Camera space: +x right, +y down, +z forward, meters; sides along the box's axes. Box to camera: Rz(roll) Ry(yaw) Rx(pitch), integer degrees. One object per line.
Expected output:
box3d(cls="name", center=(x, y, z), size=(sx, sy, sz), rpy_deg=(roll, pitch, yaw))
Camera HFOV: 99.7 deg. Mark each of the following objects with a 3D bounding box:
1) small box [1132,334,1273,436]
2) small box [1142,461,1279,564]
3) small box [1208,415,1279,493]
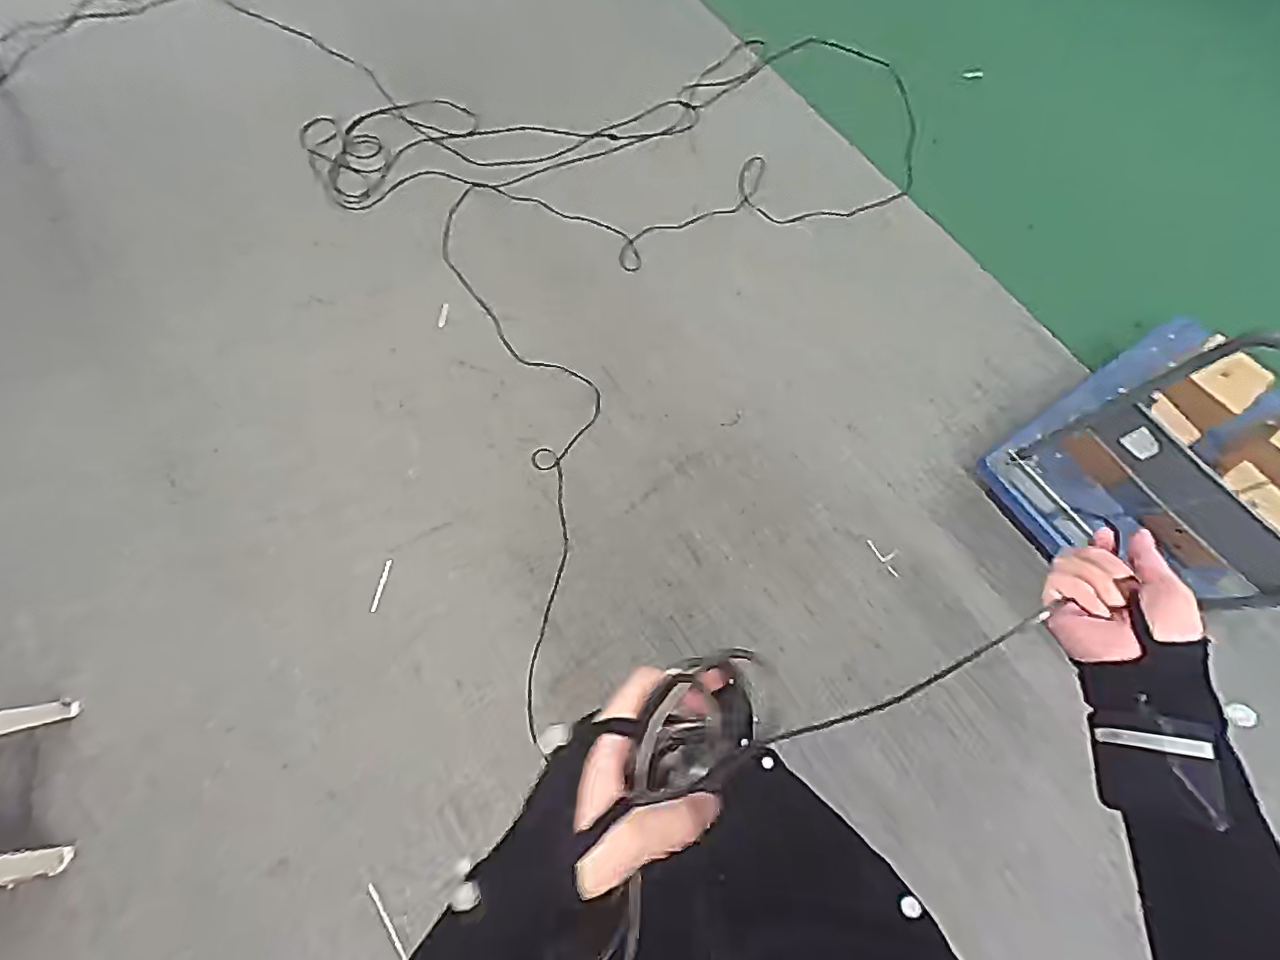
box3d(cls="small box", center=(1.482, -0.245, 1.442), size=(0.179, 0.176, 0.168), rpy_deg=(-36, 76, -12))
box3d(cls="small box", center=(1.413, 0.085, 1.329), size=(0.179, 0.176, 0.168), rpy_deg=(-32, 74, -10))
box3d(cls="small box", center=(1.637, -0.057, 1.379), size=(0.179, 0.176, 0.168), rpy_deg=(-36, 75, -11))
